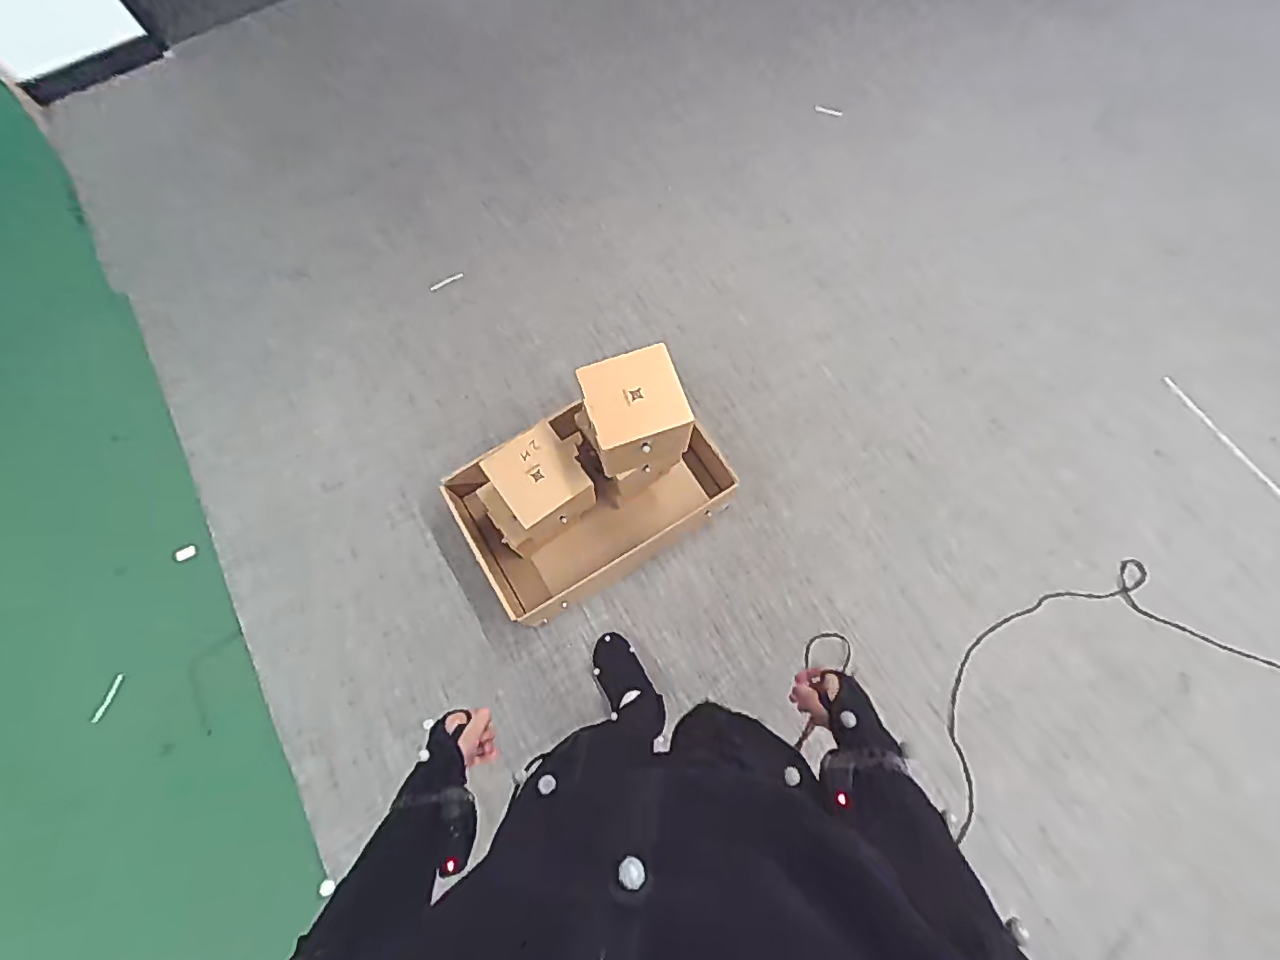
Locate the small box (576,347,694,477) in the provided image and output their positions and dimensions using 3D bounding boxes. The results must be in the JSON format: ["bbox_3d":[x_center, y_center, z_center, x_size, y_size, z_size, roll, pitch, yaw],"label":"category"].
[{"bbox_3d":[-0.010,-0.124,1.044,0.179,0.176,0.168,-20,75,-3],"label":"small box"}]

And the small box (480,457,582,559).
[{"bbox_3d":[-0.259,0.076,1.330,0.179,0.176,0.168,-34,77,-11],"label":"small box"}]

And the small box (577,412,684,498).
[{"bbox_3d":[-0.018,-0.084,1.202,0.168,0.176,0.179,-34,76,-7],"label":"small box"}]

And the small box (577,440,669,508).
[{"bbox_3d":[-0.031,-0.051,1.365,0.179,0.176,0.168,-40,76,-8],"label":"small box"}]
